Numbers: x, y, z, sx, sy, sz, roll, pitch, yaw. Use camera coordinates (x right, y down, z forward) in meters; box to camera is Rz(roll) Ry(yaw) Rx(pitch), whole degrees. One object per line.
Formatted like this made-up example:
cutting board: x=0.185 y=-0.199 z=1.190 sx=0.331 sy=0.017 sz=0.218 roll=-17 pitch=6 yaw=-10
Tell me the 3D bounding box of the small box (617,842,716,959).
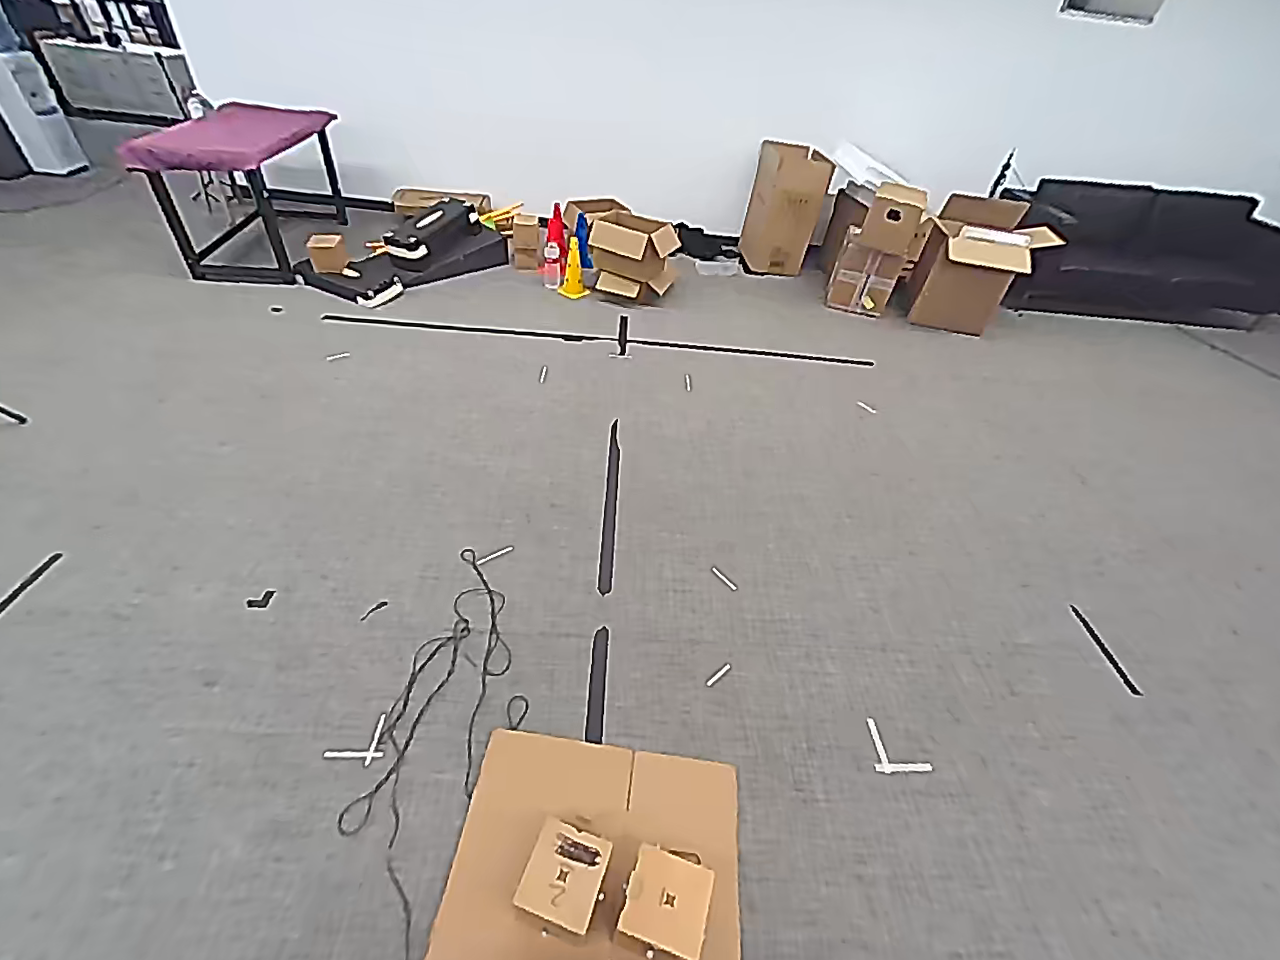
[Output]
small box: x=0.057 y=0.964 z=1.224 sx=0.179 sy=0.176 sz=0.168 roll=16 pitch=43 yaw=10
